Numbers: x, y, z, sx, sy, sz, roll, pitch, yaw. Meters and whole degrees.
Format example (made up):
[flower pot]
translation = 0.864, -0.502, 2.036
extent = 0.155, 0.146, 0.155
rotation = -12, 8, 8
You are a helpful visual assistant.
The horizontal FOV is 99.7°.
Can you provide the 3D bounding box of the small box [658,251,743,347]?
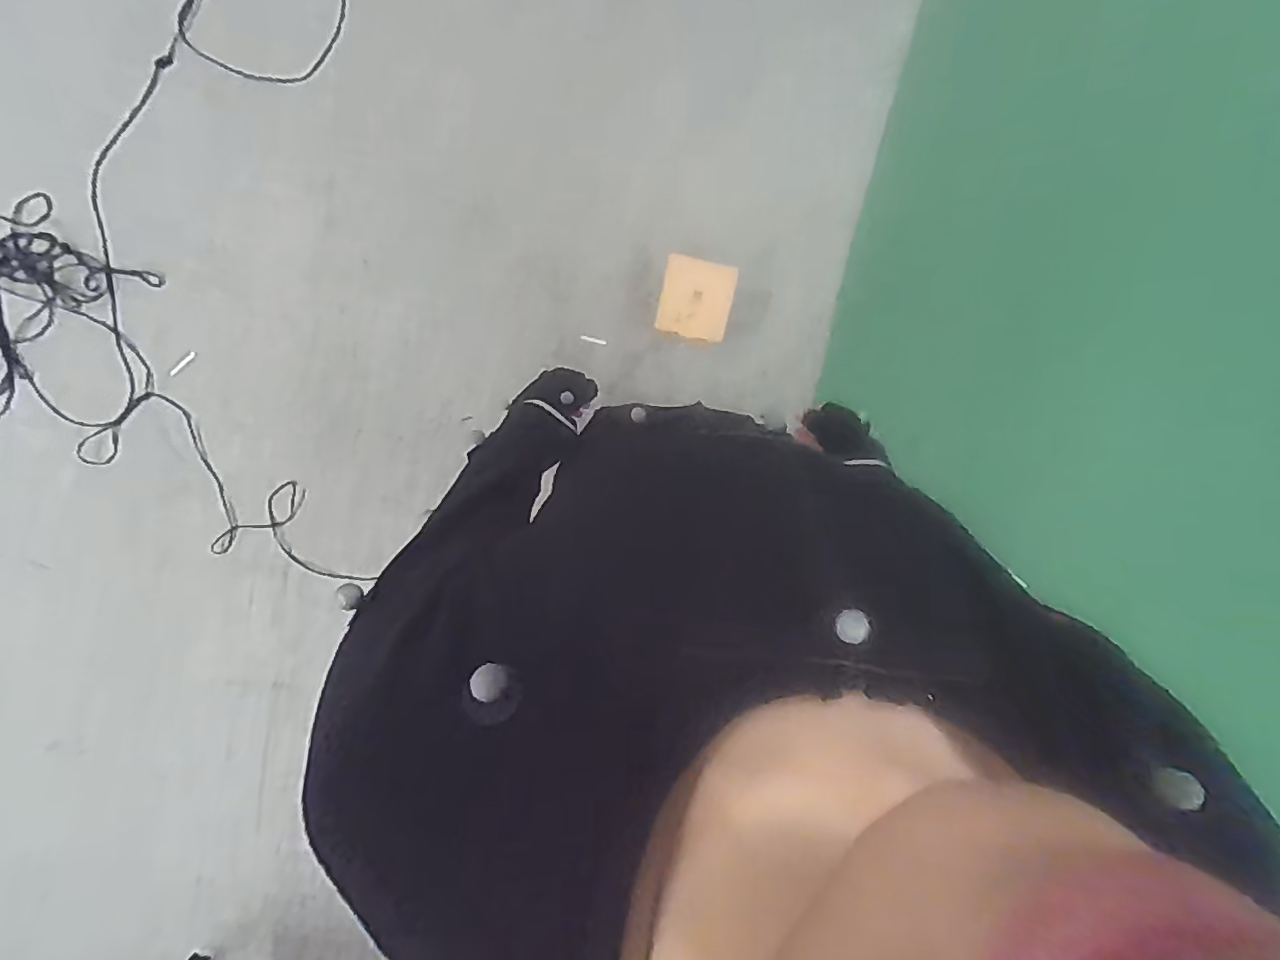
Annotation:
[small box]
translation = 0.142, -0.440, 1.341
extent = 0.168, 0.176, 0.179
rotation = 14, 99, -1
